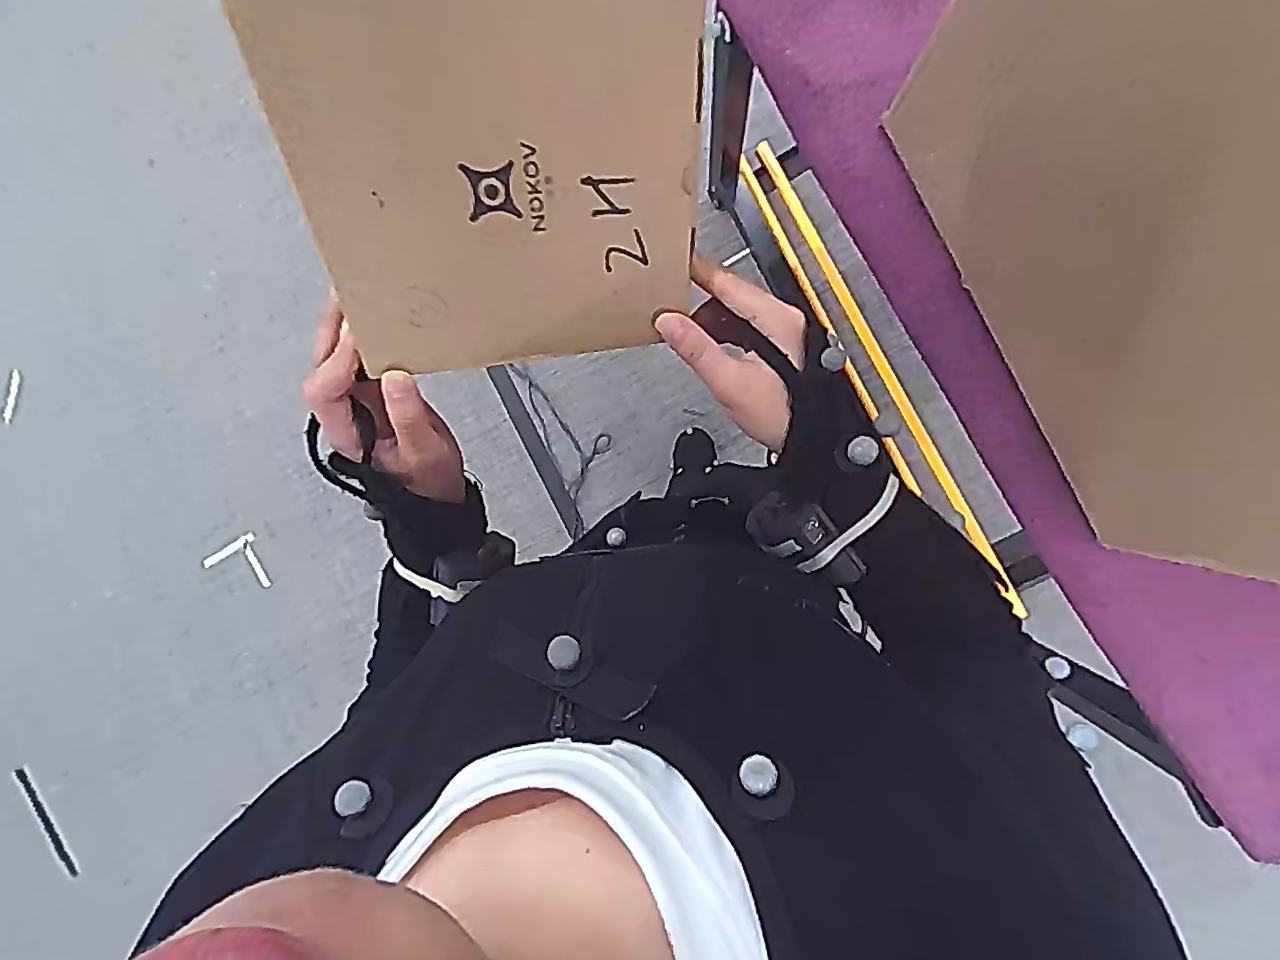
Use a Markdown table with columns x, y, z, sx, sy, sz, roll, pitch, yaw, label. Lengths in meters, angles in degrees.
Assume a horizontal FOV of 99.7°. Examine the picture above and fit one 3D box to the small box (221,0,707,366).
| x | y | z | sx | sy | sz | roll | pitch | yaw | label |
| --- | --- | --- | --- | --- | --- | --- | --- | --- | --- |
| -0.076 | -0.183 | 0.295 | 0.179 | 0.176 | 0.168 | -10 | 134 | -10 | small box |
